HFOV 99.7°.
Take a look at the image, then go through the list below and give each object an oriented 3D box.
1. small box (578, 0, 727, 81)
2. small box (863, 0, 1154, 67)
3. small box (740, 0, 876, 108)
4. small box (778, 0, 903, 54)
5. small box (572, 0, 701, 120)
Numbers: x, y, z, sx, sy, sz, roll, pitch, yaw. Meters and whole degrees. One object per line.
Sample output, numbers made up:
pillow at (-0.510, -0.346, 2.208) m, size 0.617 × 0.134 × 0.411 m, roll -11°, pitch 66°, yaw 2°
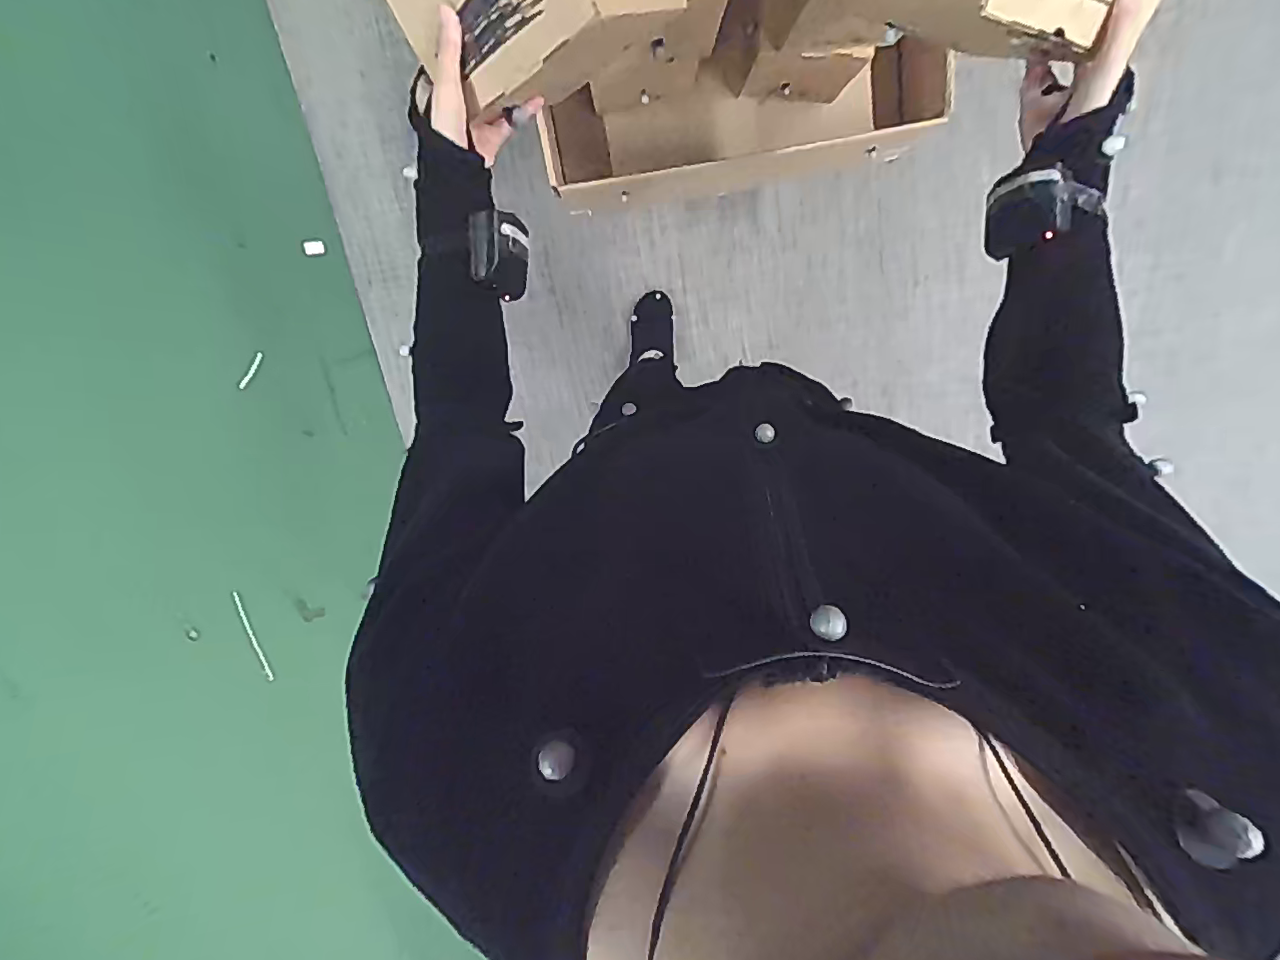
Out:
small box at (0.002, -0.621, 0.657) m, size 0.168 × 0.176 × 0.179 m, roll -12°, pitch 107°, yaw 3°
small box at (0.307, -0.455, 0.429) m, size 0.168 × 0.176 × 0.179 m, roll -2°, pitch 127°, yaw -19°
small box at (0.250, -0.691, 0.810) m, size 0.168 × 0.176 × 0.179 m, roll 1°, pitch 107°, yaw 0°
small box at (0.269, -0.649, 0.653) m, size 0.168 × 0.176 × 0.179 m, roll -4°, pitch 107°, yaw 0°
small box at (-0.010, -0.681, 0.810) m, size 0.168 × 0.176 × 0.179 m, roll -12°, pitch 107°, yaw 4°
